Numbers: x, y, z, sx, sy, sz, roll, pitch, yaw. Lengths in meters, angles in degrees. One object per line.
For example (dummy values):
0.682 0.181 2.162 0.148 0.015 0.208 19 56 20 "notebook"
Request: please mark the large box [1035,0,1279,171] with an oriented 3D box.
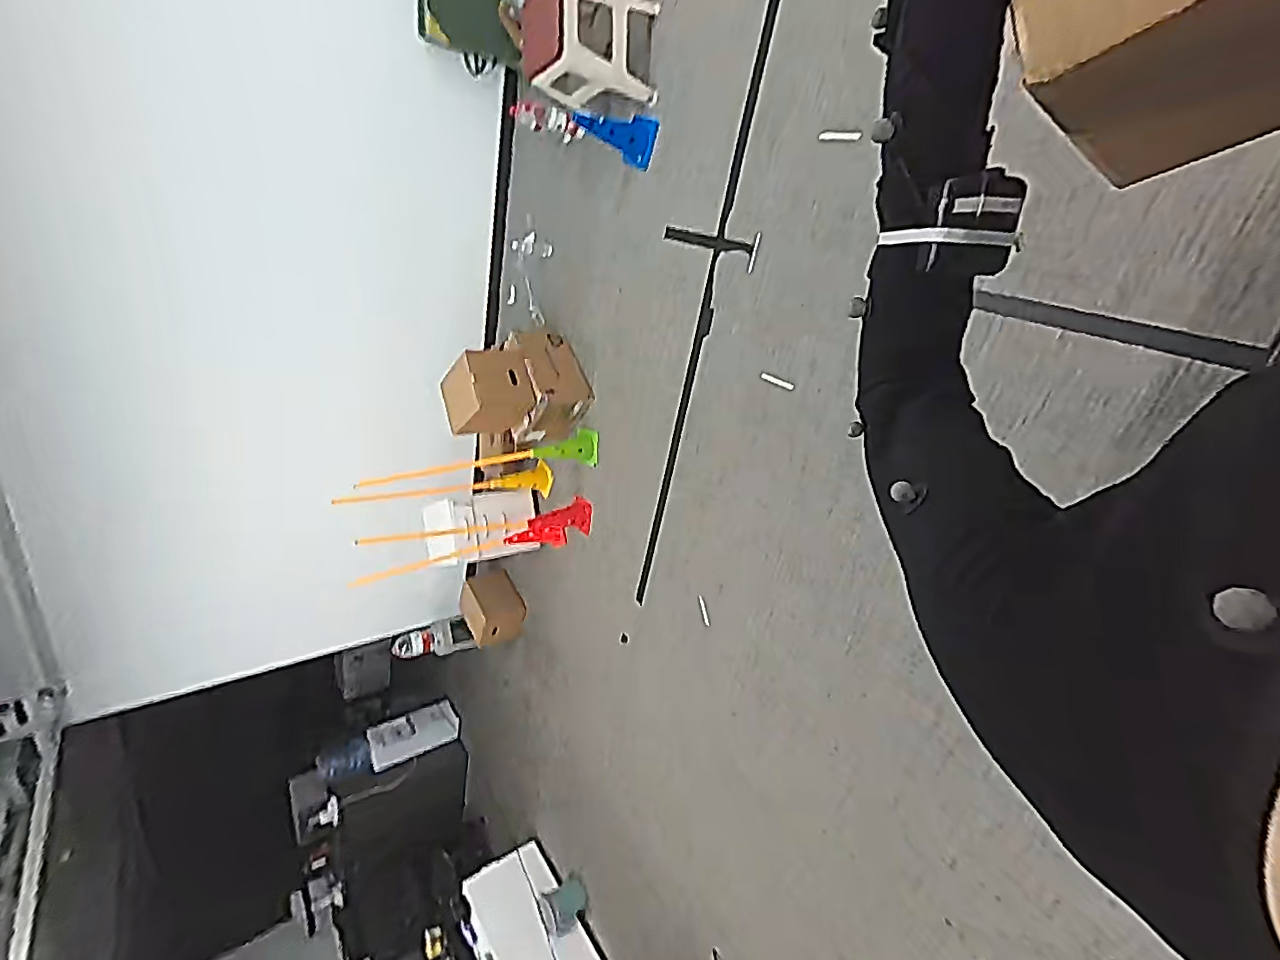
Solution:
0.459 -0.440 0.275 0.408 0.320 0.320 -8 93 49 "large box"
